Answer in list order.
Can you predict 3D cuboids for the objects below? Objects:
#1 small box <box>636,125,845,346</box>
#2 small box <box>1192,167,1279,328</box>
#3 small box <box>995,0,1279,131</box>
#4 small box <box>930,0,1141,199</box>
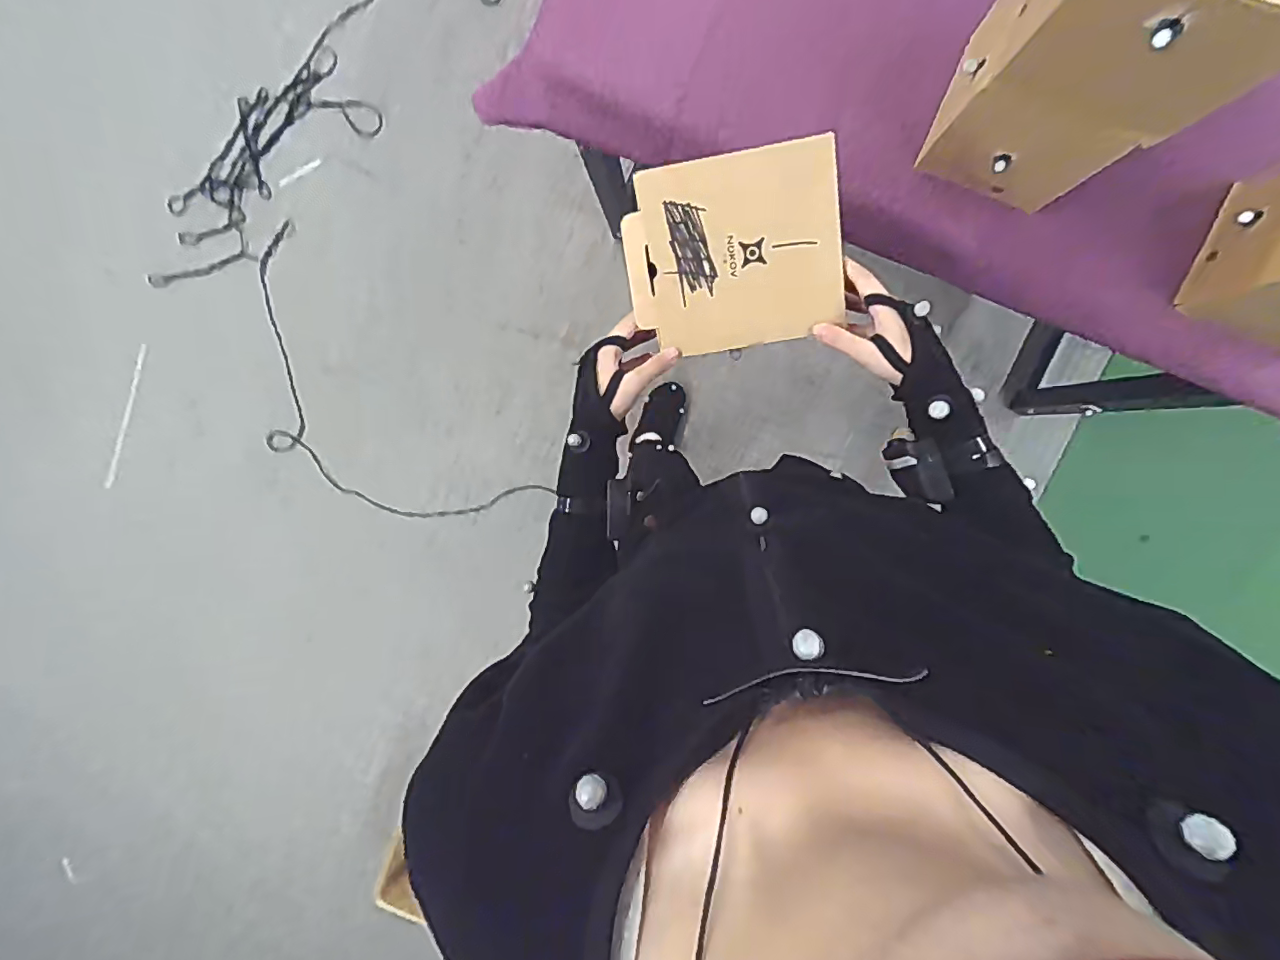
[{"bbox_3d":[0.099,-0.235,0.564,0.179,0.176,0.168,-8,105,6],"label":"small box"},{"bbox_3d":[0.790,-0.266,0.587,0.179,0.176,0.168,22,98,6],"label":"small box"},{"bbox_3d":[0.444,-0.431,0.446,0.179,0.176,0.168,23,98,4],"label":"small box"},{"bbox_3d":[0.460,-0.453,0.607,0.168,0.176,0.179,23,96,4],"label":"small box"}]
